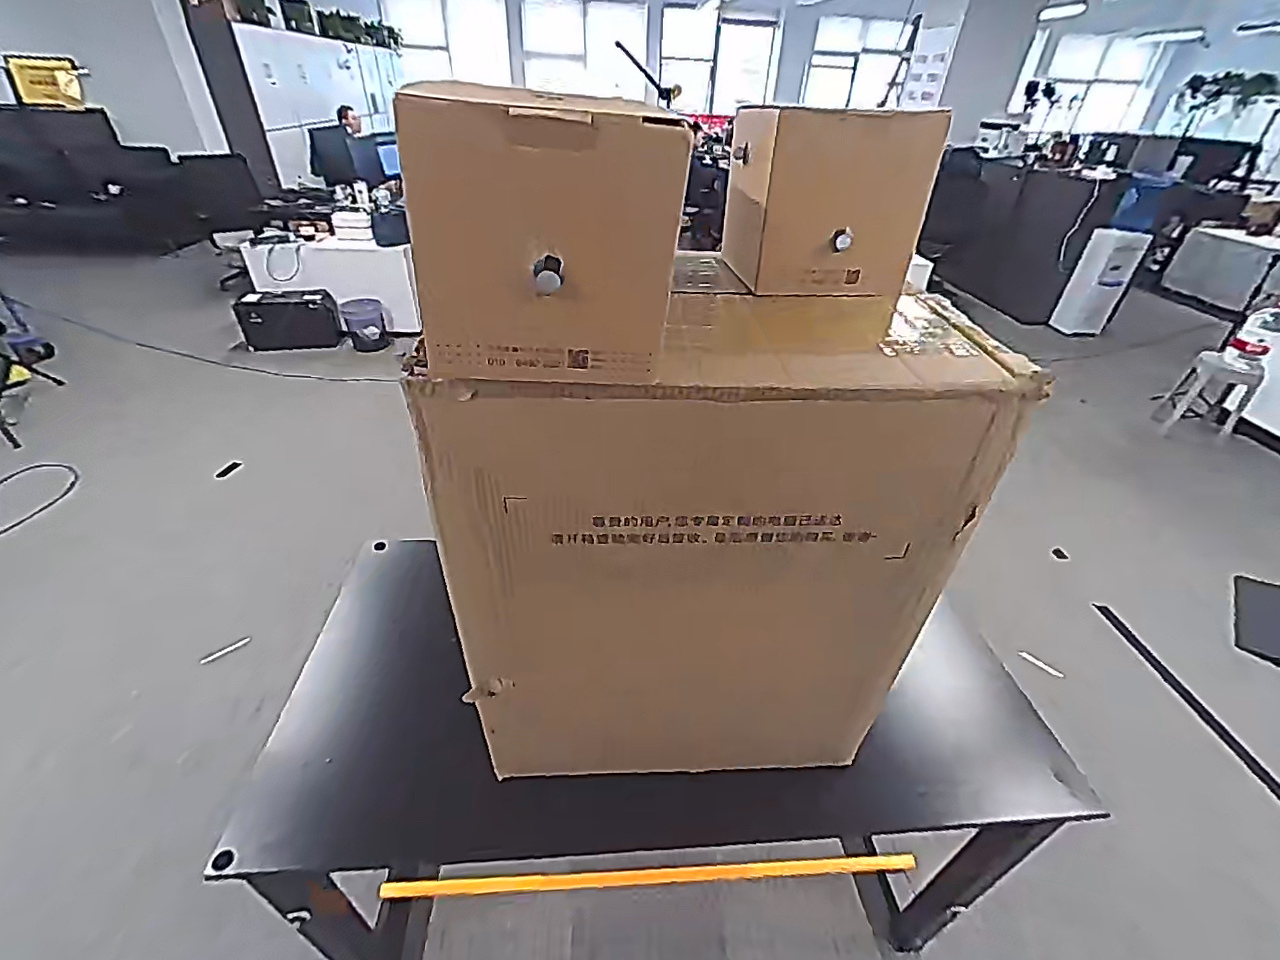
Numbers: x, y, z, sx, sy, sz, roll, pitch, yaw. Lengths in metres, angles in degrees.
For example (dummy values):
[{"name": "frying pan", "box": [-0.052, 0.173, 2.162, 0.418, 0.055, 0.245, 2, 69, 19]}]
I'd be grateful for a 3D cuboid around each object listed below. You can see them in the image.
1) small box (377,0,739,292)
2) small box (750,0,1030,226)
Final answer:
[{"name": "small box", "box": [-0.047, -0.226, 0.329, 0.168, 0.176, 0.179, 0, 39, -11]}, {"name": "small box", "box": [0.215, -0.355, 0.527, 0.168, 0.176, 0.179, -2, 35, -5]}]
